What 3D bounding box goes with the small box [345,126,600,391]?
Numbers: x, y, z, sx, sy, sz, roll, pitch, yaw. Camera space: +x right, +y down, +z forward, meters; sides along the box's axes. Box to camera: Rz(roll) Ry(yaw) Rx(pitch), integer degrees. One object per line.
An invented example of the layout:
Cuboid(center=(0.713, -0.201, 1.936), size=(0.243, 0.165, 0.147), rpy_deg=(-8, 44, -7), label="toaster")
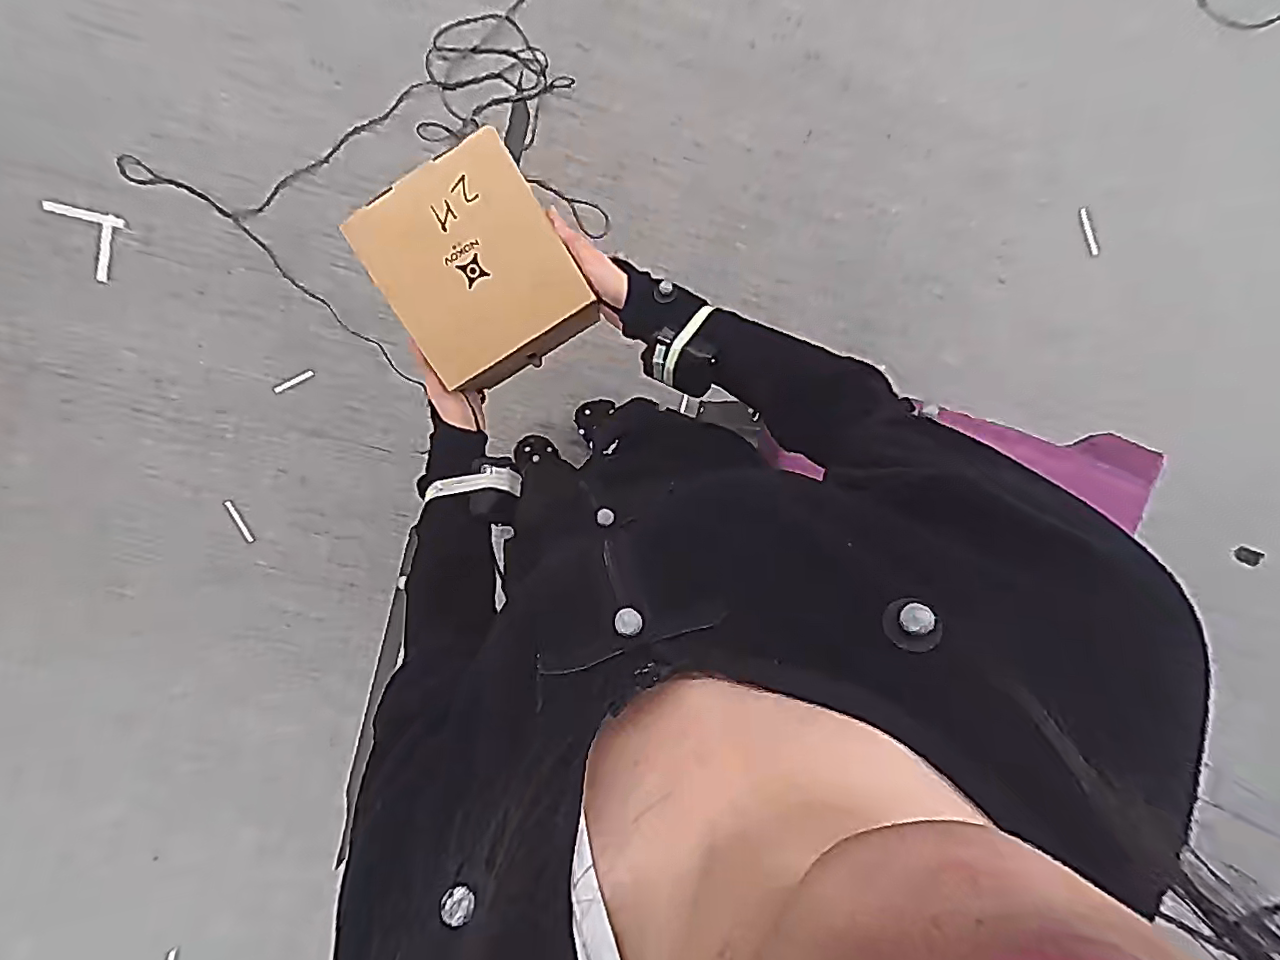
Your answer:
Cuboid(center=(-0.152, -0.211, 0.566), size=(0.168, 0.176, 0.179), rpy_deg=(-32, 99, 3), label="small box")
